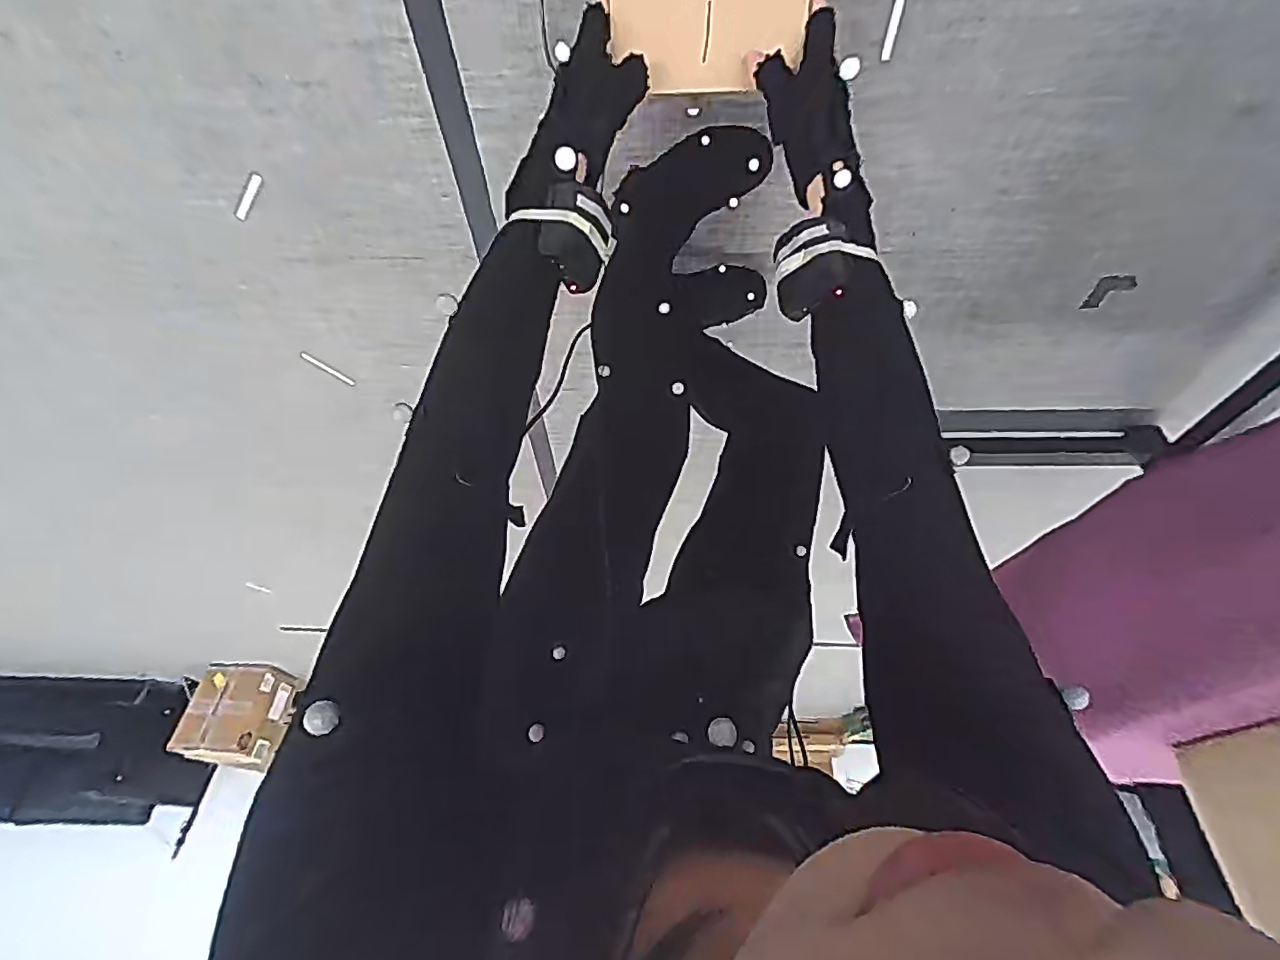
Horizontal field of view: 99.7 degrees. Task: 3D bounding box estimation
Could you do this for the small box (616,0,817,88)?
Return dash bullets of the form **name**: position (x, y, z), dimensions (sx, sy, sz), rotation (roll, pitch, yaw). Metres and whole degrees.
- **small box**: position (0.063, -0.461, 0.482), dimensions (0.168, 0.176, 0.179), rotation (0, 126, 3)
